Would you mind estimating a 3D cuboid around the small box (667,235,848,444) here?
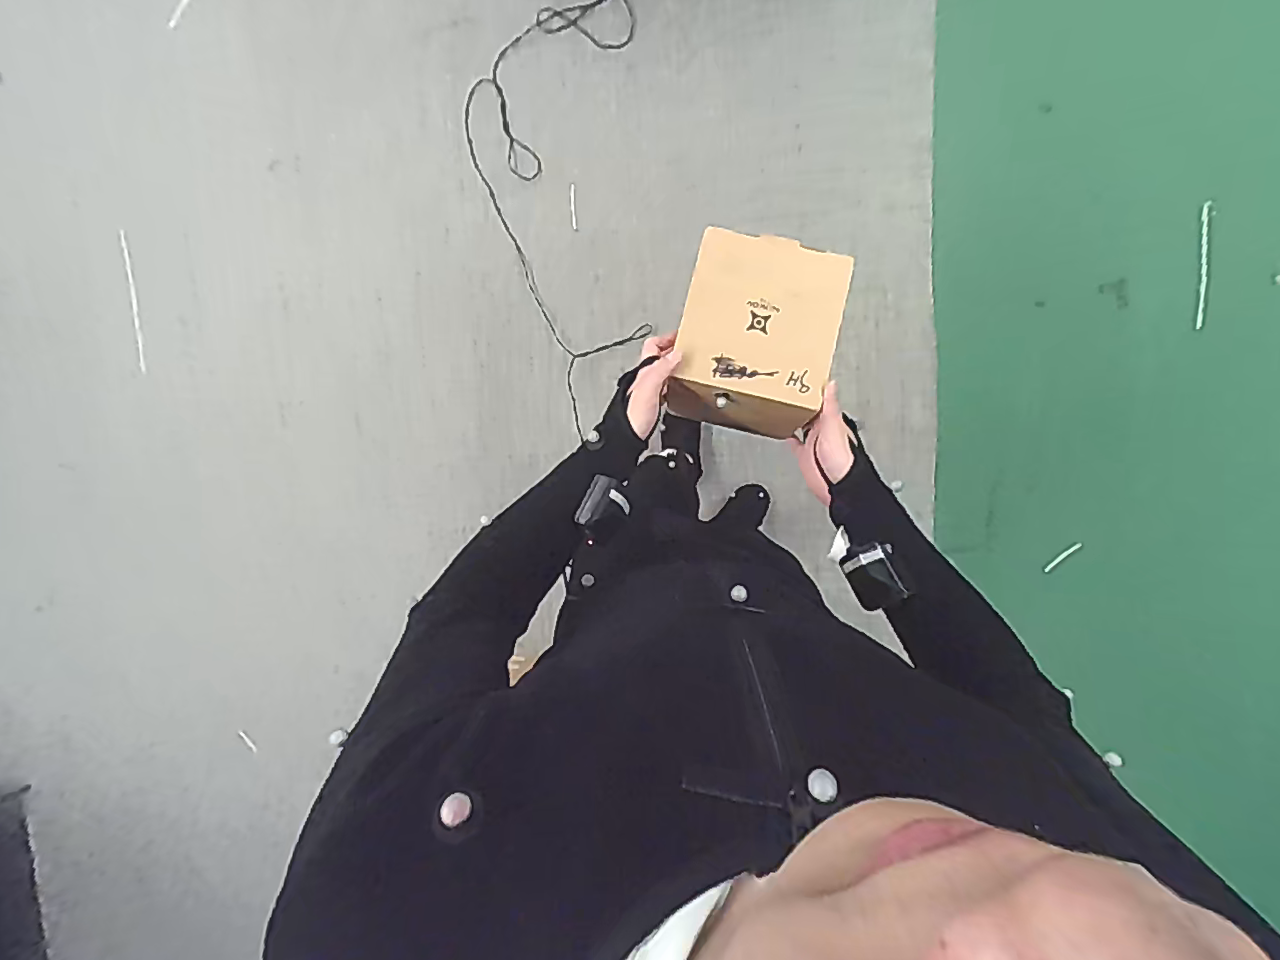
[{"bbox_3d":[0.129,-0.158,0.659,0.168,0.176,0.179,14,84,3],"label":"small box"}]
